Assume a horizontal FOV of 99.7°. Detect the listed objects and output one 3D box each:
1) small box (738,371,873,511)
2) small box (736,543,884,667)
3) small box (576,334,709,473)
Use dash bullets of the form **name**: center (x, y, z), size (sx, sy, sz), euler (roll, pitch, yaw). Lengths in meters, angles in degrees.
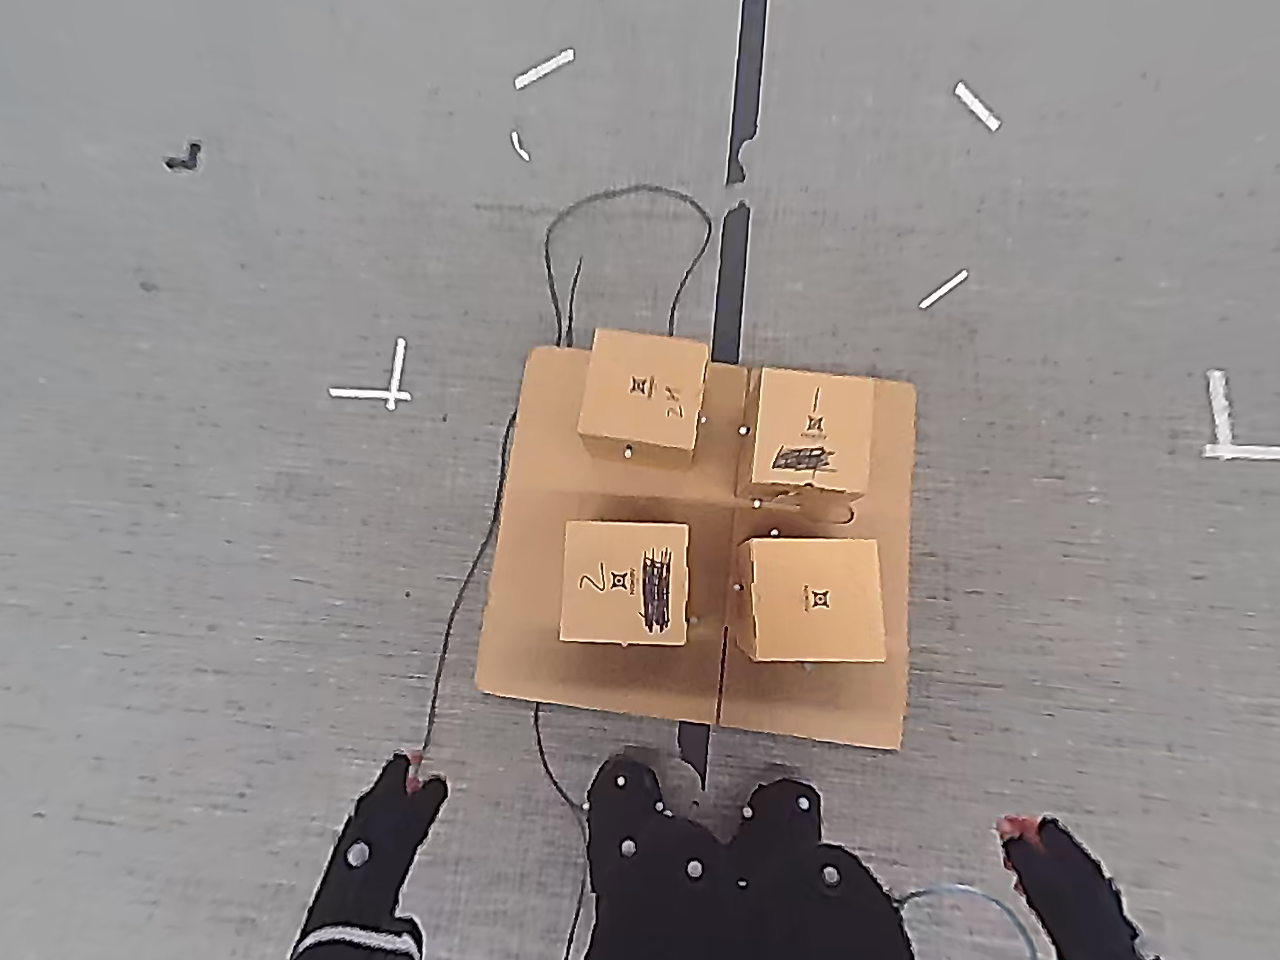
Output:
- **small box**: center (0.252, -0.052, 0.855), size (0.168, 0.176, 0.179), euler (7, 79, 4)
- **small box**: center (0.244, 0.181, 0.814), size (0.179, 0.176, 0.168), euler (-1, 80, 4)
- **small box**: center (0.008, -0.114, 0.873), size (0.179, 0.176, 0.168), euler (9, 81, 4)
